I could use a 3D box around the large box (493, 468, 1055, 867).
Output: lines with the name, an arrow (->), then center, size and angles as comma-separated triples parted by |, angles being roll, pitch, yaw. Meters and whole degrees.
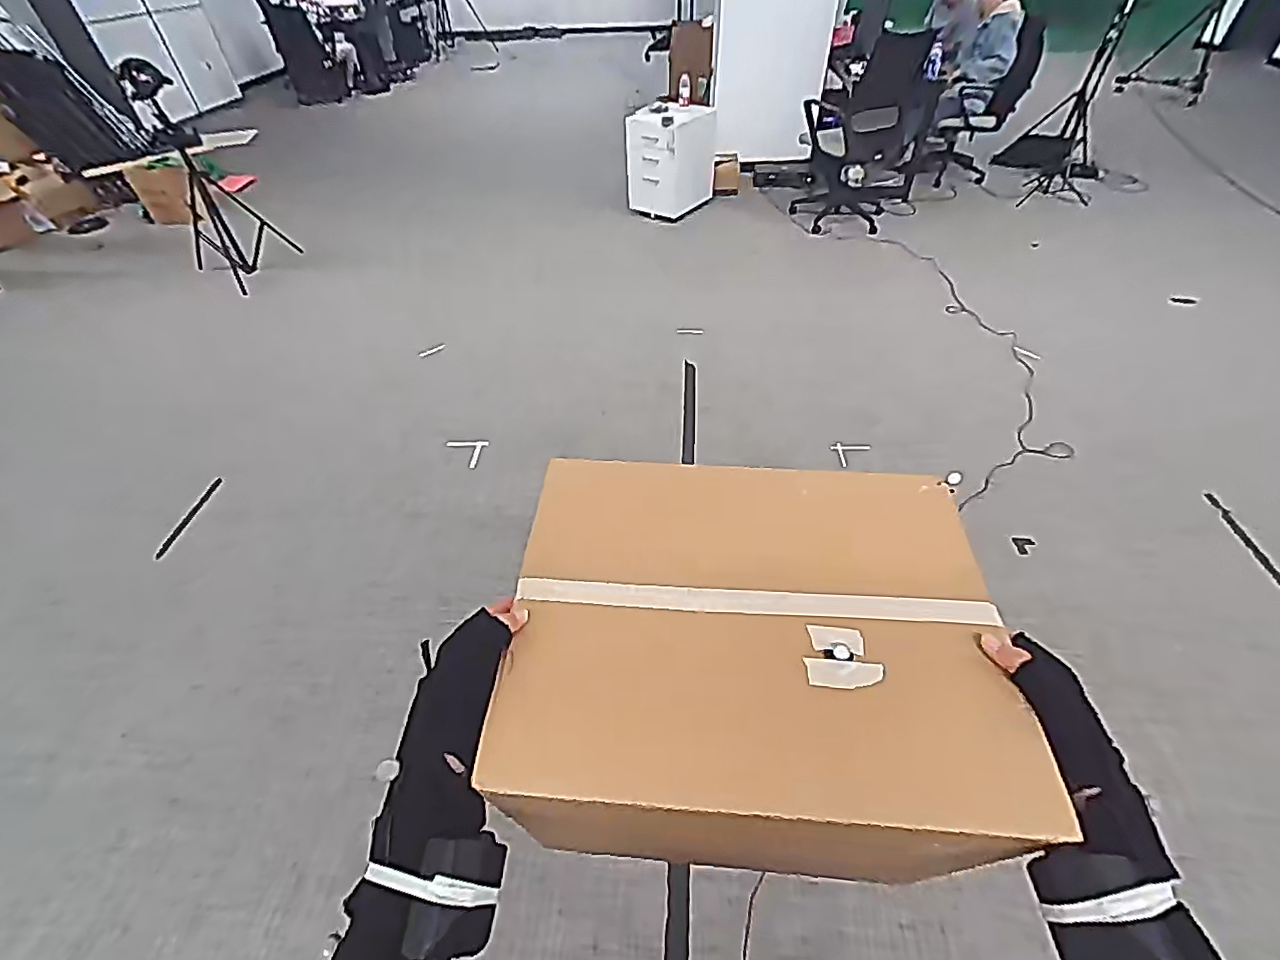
large box -> 0.100, 0.205, 0.587 | 0.408, 0.320, 0.320 | 3, 51, 4
